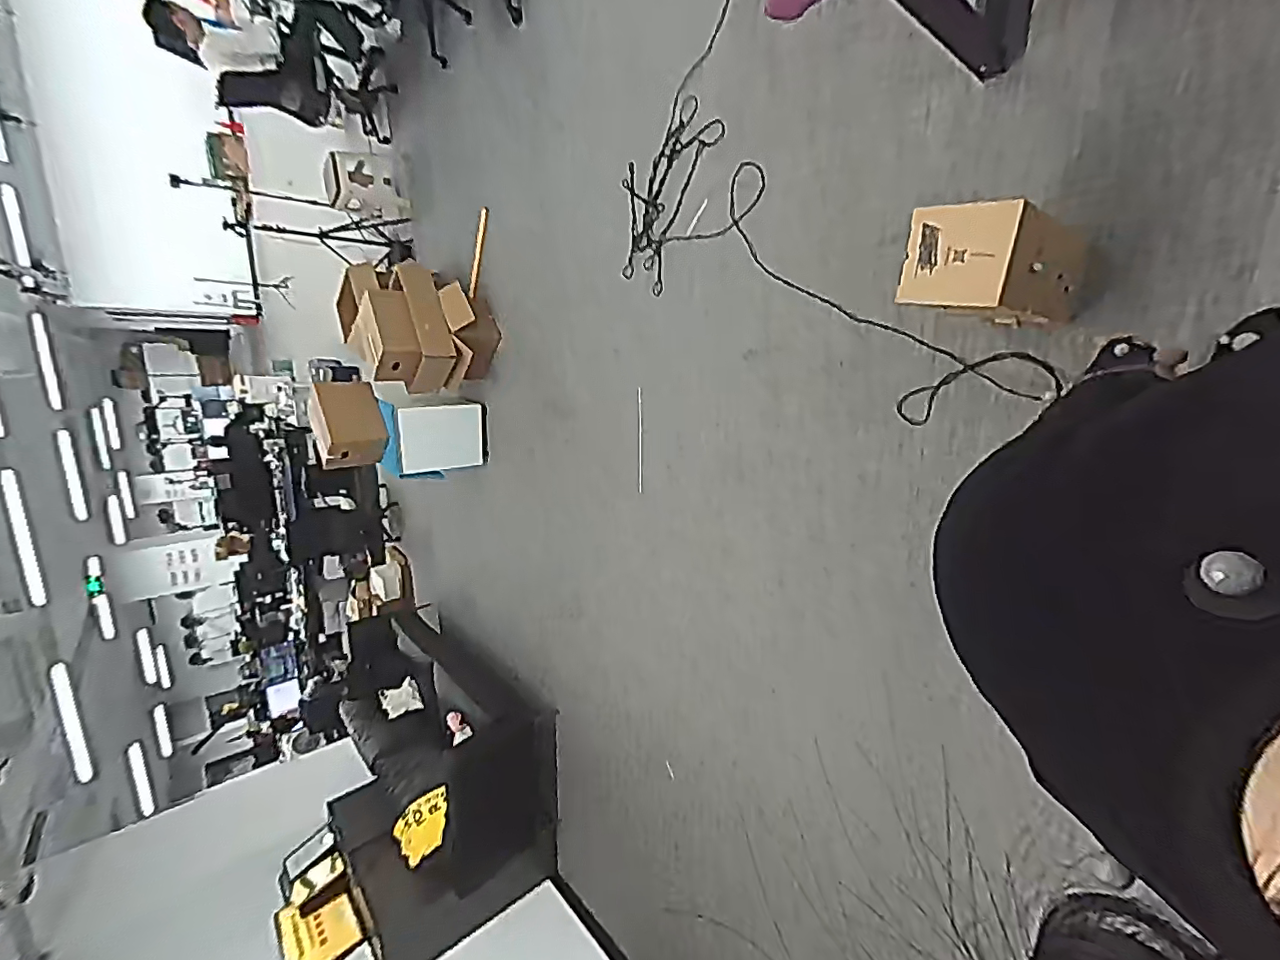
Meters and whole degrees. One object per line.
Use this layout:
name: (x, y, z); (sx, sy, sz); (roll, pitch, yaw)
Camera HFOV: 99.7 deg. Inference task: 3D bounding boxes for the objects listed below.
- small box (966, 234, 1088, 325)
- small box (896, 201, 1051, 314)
small box: (0.856, -0.435, 1.195); (0.168, 0.176, 0.179); (19, 113, 45)
small box: (0.605, -0.396, 0.985); (0.179, 0.176, 0.168); (22, 114, 45)
